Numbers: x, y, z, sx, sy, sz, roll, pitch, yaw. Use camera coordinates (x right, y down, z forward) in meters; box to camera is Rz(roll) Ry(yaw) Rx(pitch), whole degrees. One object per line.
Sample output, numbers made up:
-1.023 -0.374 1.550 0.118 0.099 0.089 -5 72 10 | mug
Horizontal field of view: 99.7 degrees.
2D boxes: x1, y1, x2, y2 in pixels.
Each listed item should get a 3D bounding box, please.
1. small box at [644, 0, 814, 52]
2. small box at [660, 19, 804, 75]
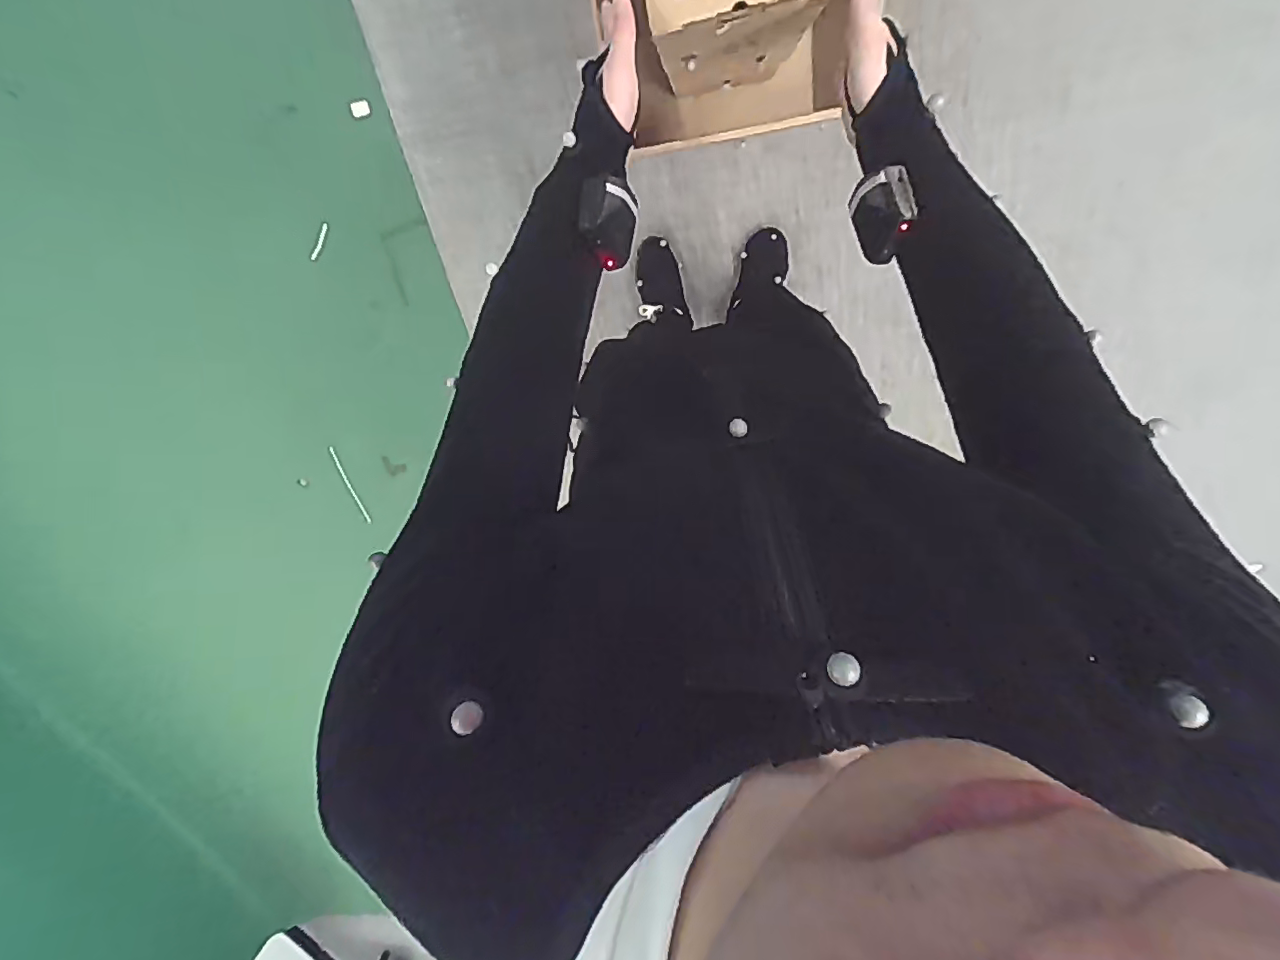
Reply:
0.083 -0.533 0.509 0.168 0.176 0.179 -6 118 10 | small box
0.104 -0.612 0.652 0.168 0.176 0.179 -4 118 10 | small box
